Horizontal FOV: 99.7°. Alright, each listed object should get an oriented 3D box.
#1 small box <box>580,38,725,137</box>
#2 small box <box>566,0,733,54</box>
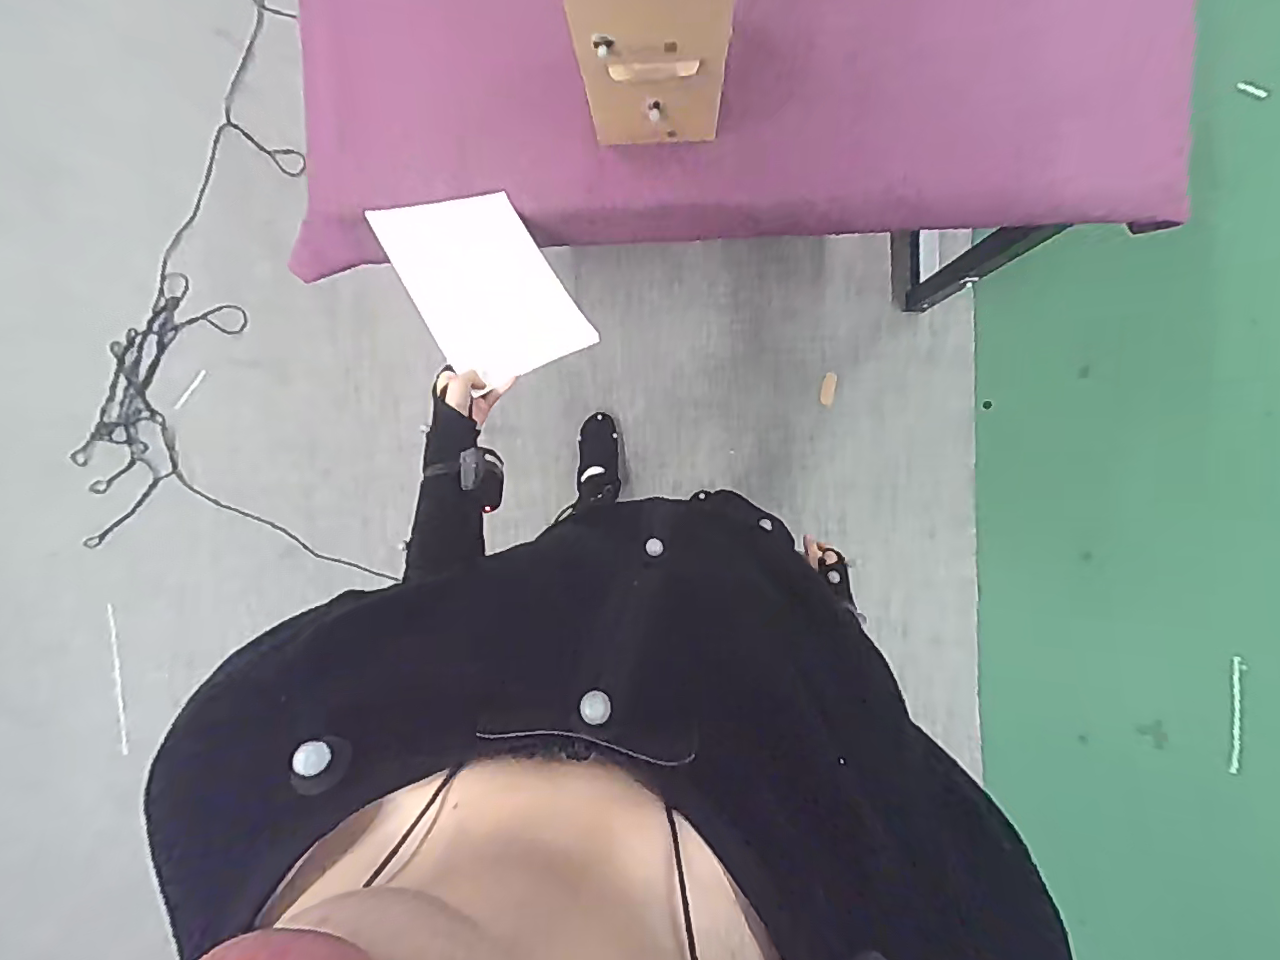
[{"bbox_3d":[0.019,-0.557,0.676,0.168,0.176,0.179,0,93,3],"label":"small box"},{"bbox_3d":[0.009,-0.544,0.512,0.168,0.176,0.179,0,91,4],"label":"small box"}]
